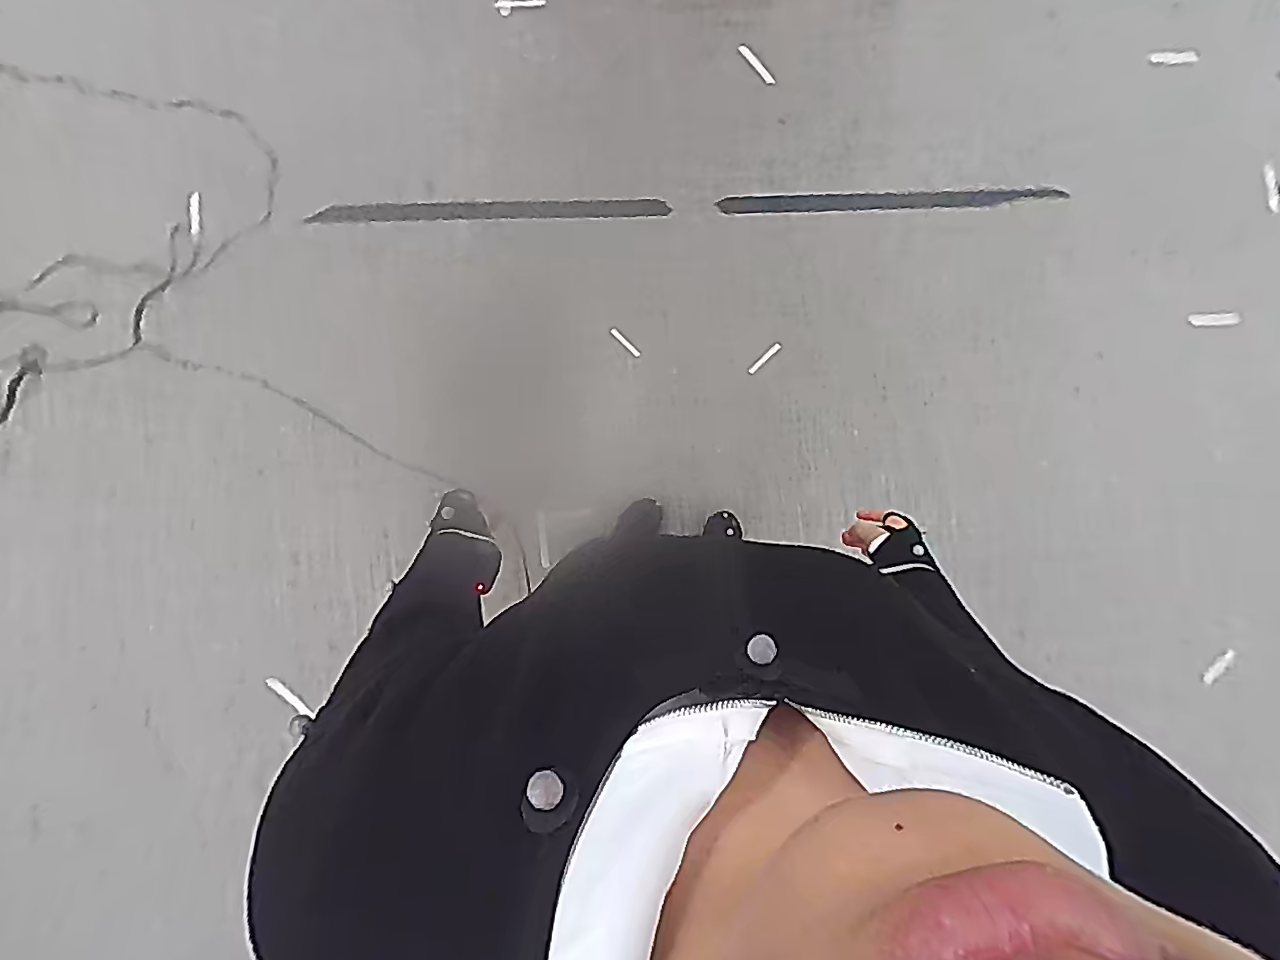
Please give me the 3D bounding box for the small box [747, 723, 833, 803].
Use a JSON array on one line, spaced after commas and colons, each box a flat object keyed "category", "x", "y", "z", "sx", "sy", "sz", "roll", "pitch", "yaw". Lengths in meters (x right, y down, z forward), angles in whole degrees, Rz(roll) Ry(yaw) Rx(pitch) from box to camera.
[{"category": "small box", "x": 0.364, "y": 0.720, "z": 1.315, "sx": 0.168, "sy": 0.176, "sz": 0.179, "roll": -5, "pitch": 88, "yaw": -2}]
